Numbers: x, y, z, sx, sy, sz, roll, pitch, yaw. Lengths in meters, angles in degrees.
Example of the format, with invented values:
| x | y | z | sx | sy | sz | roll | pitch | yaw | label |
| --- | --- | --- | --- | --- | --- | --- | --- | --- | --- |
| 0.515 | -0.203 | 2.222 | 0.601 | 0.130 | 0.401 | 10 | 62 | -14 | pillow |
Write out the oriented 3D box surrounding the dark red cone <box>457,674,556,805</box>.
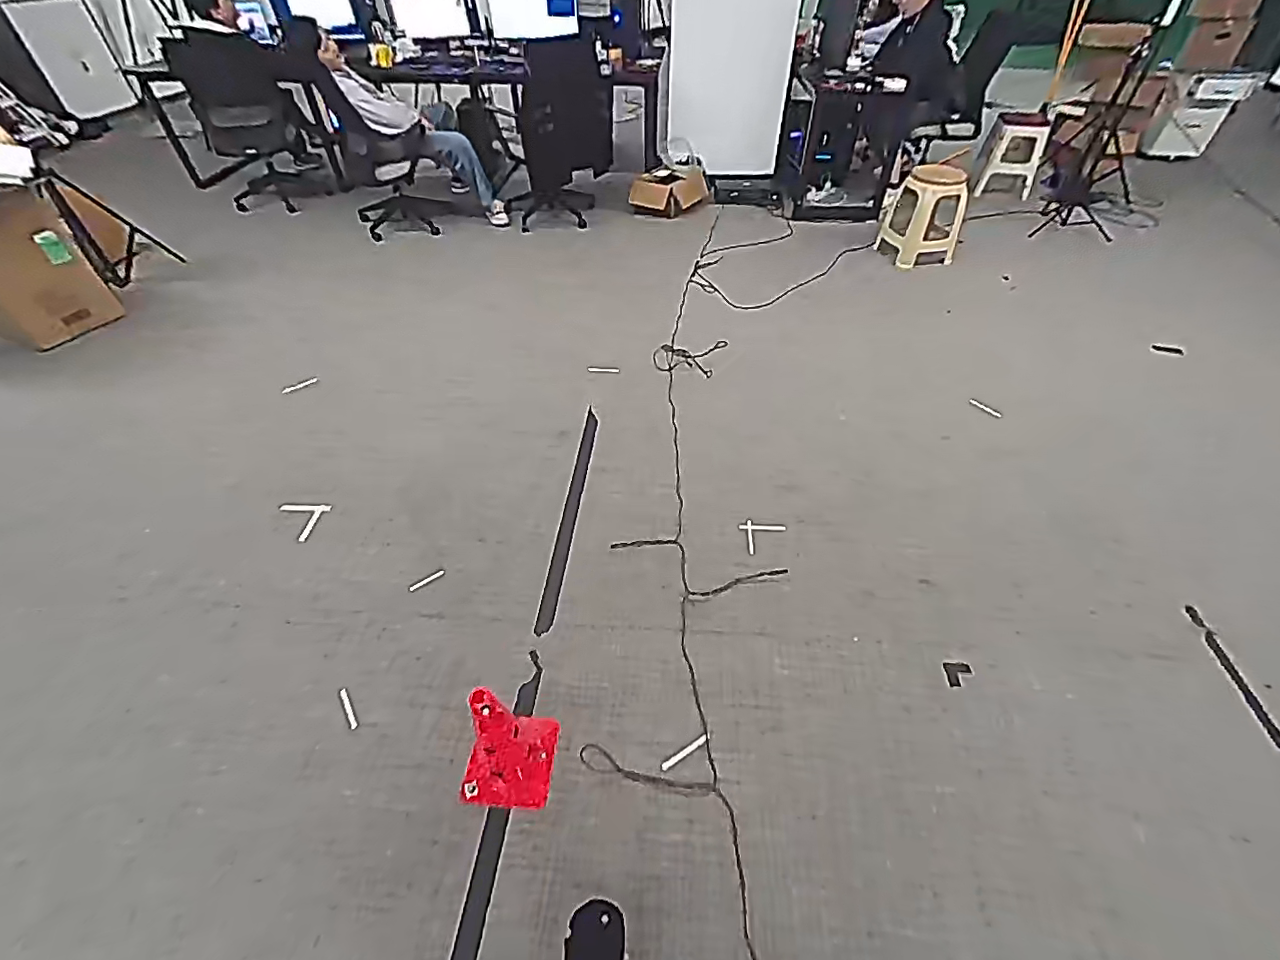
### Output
| x | y | z | sx | sy | sz | roll | pitch | yaw | label |
| --- | --- | --- | --- | --- | --- | --- | --- | --- | --- |
| -0.302 | 0.522 | 1.144 | 0.201 | 0.394 | 0.202 | 4 | 45 | 2 | dark red cone |
